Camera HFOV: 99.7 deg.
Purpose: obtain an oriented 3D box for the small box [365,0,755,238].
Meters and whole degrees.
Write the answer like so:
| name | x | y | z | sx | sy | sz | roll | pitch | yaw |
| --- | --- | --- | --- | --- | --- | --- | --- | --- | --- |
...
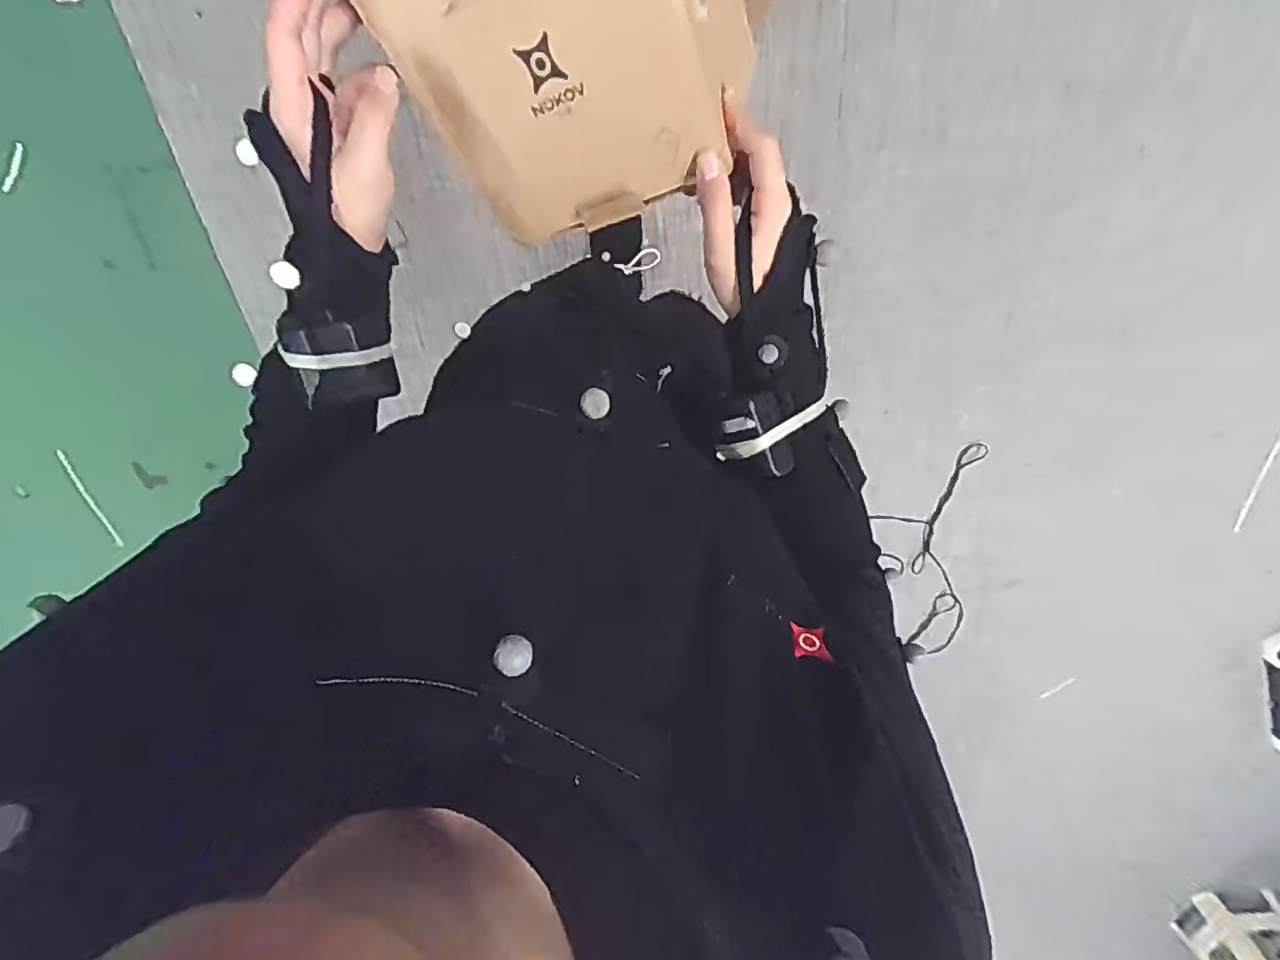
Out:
| name | x | y | z | sx | sy | sz | roll | pitch | yaw |
| --- | --- | --- | --- | --- | --- | --- | --- | --- | --- |
| small box | -0.032 | -0.295 | 0.337 | 0.168 | 0.176 | 0.179 | -6 | 143 | 27 |
